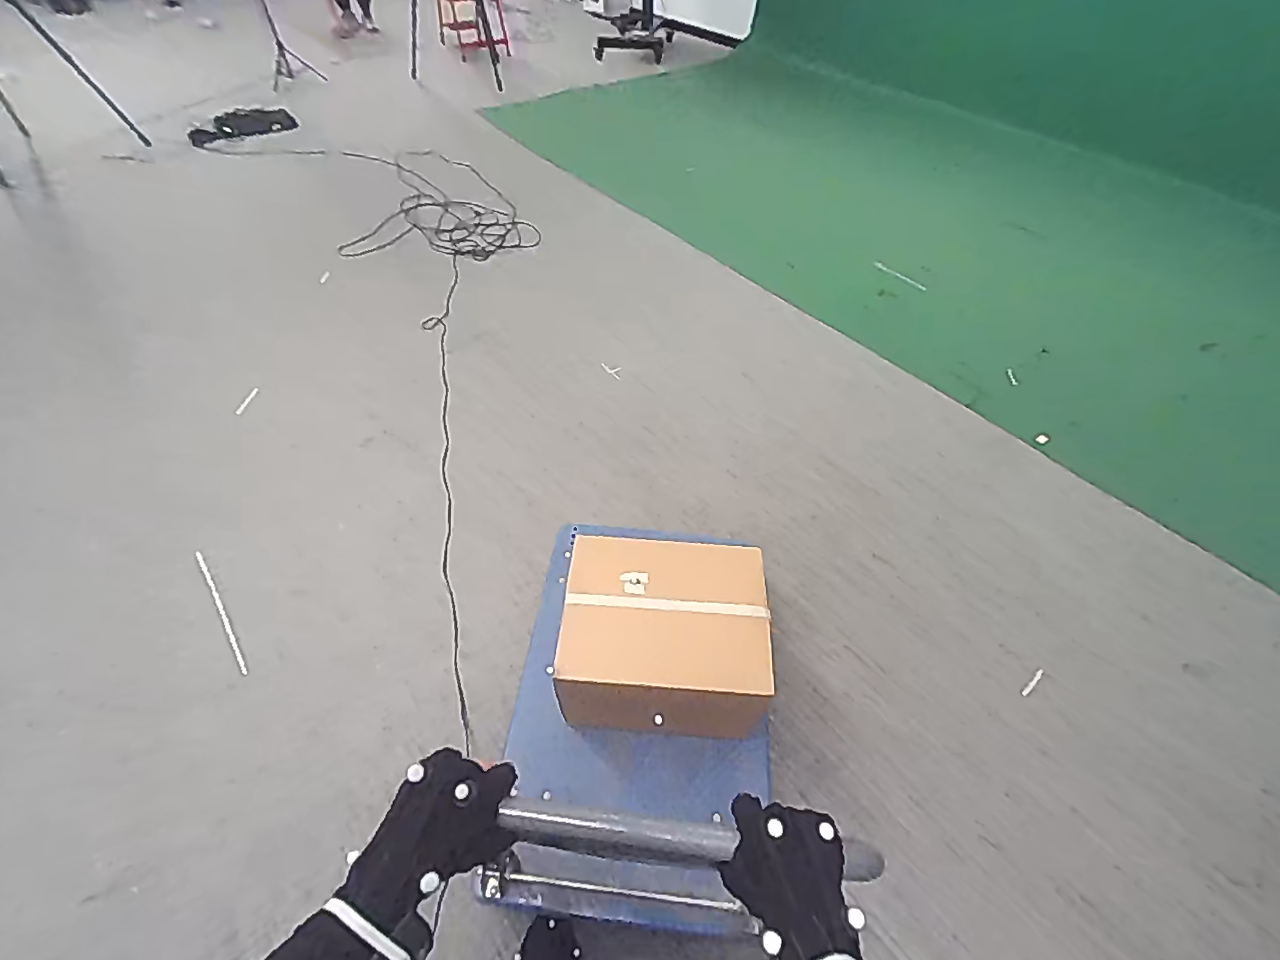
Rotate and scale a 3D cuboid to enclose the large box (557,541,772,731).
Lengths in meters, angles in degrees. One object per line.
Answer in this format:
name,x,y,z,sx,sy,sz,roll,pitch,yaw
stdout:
large box,0.051,0.351,1.200,0.408,0.320,0.320,3,50,2
